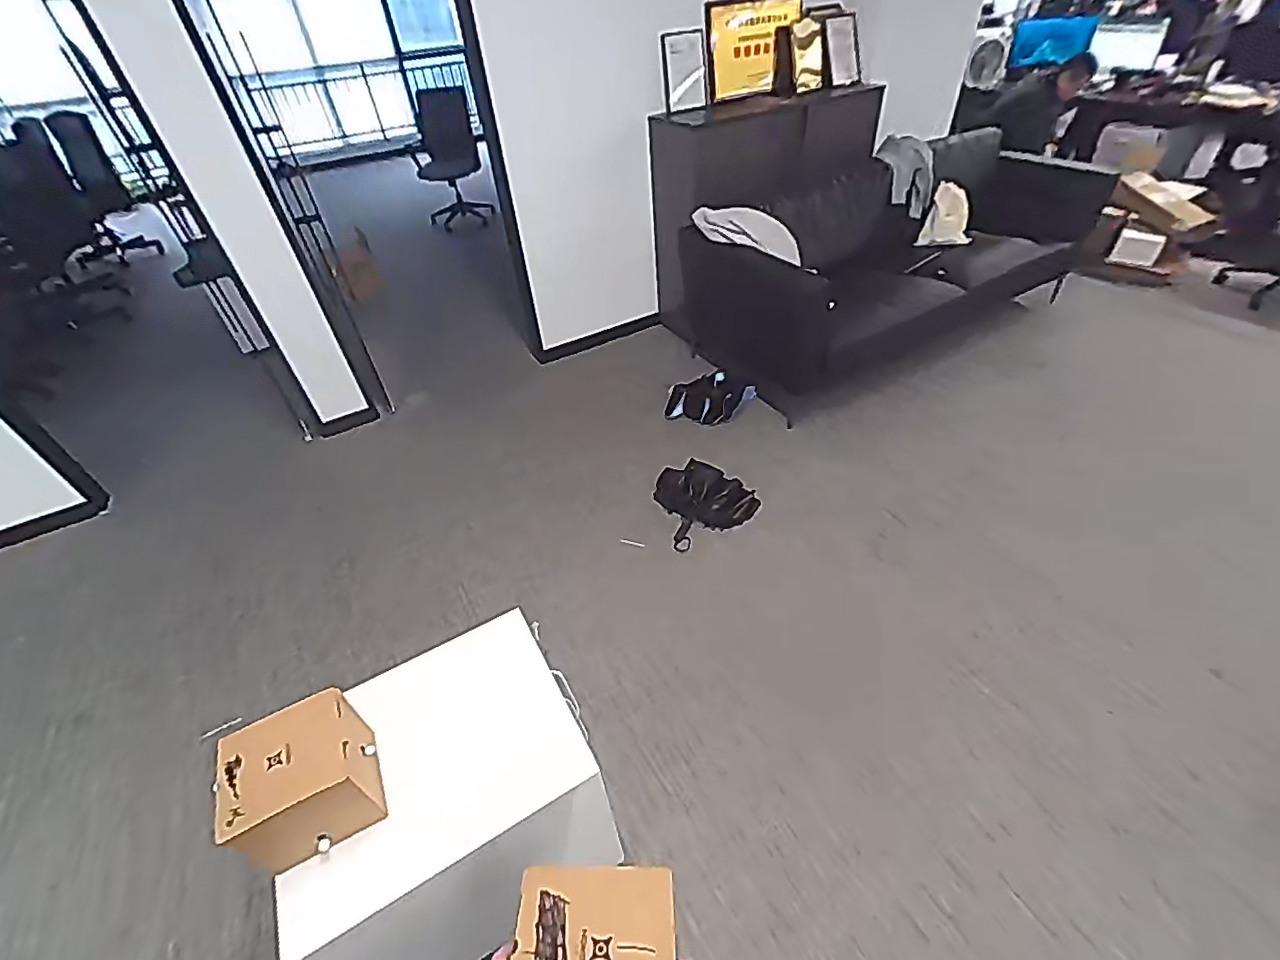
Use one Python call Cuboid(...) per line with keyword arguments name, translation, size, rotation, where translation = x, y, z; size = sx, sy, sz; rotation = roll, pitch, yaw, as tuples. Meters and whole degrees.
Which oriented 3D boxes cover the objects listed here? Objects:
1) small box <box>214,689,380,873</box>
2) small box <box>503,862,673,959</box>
Cuboid(name="small box", translation=(-0.533, 0.477, 0.862), size=(0.179, 0.176, 0.168), rotation=(-22, 44, -20))
Cuboid(name="small box", translation=(-0.054, 0.558, 0.589), size=(0.179, 0.176, 0.168), rotation=(2, 22, 0))
